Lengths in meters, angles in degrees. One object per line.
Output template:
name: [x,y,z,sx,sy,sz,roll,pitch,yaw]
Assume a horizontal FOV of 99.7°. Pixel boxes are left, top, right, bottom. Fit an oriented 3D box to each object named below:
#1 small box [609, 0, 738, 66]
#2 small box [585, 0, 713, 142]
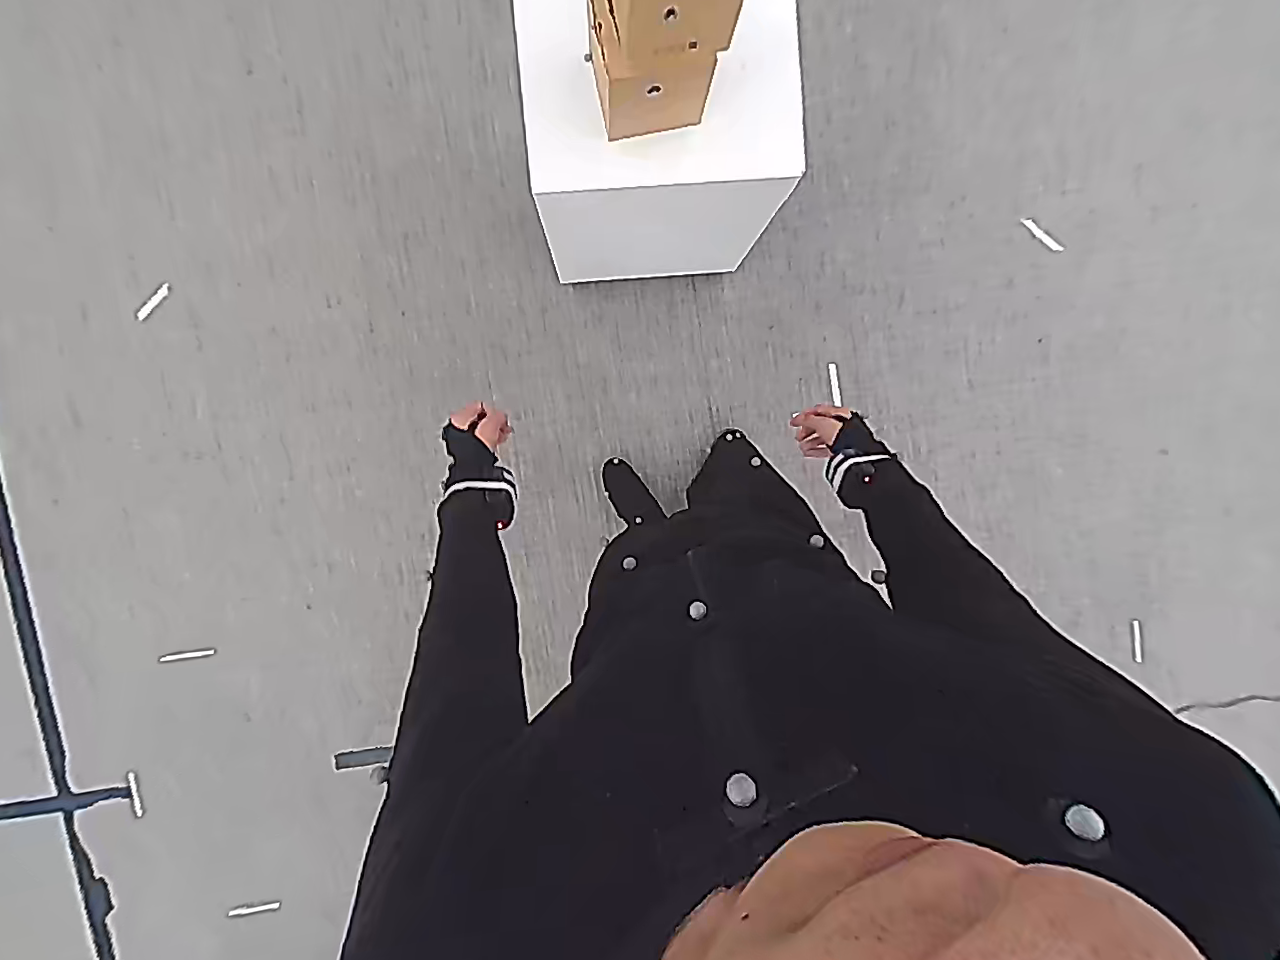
small box: [0.042,-0.719,0.752,0.168,0.176,0.179,-12,93,-3]
small box: [0.010,-0.707,0.914,0.179,0.176,0.168,-13,94,-3]
